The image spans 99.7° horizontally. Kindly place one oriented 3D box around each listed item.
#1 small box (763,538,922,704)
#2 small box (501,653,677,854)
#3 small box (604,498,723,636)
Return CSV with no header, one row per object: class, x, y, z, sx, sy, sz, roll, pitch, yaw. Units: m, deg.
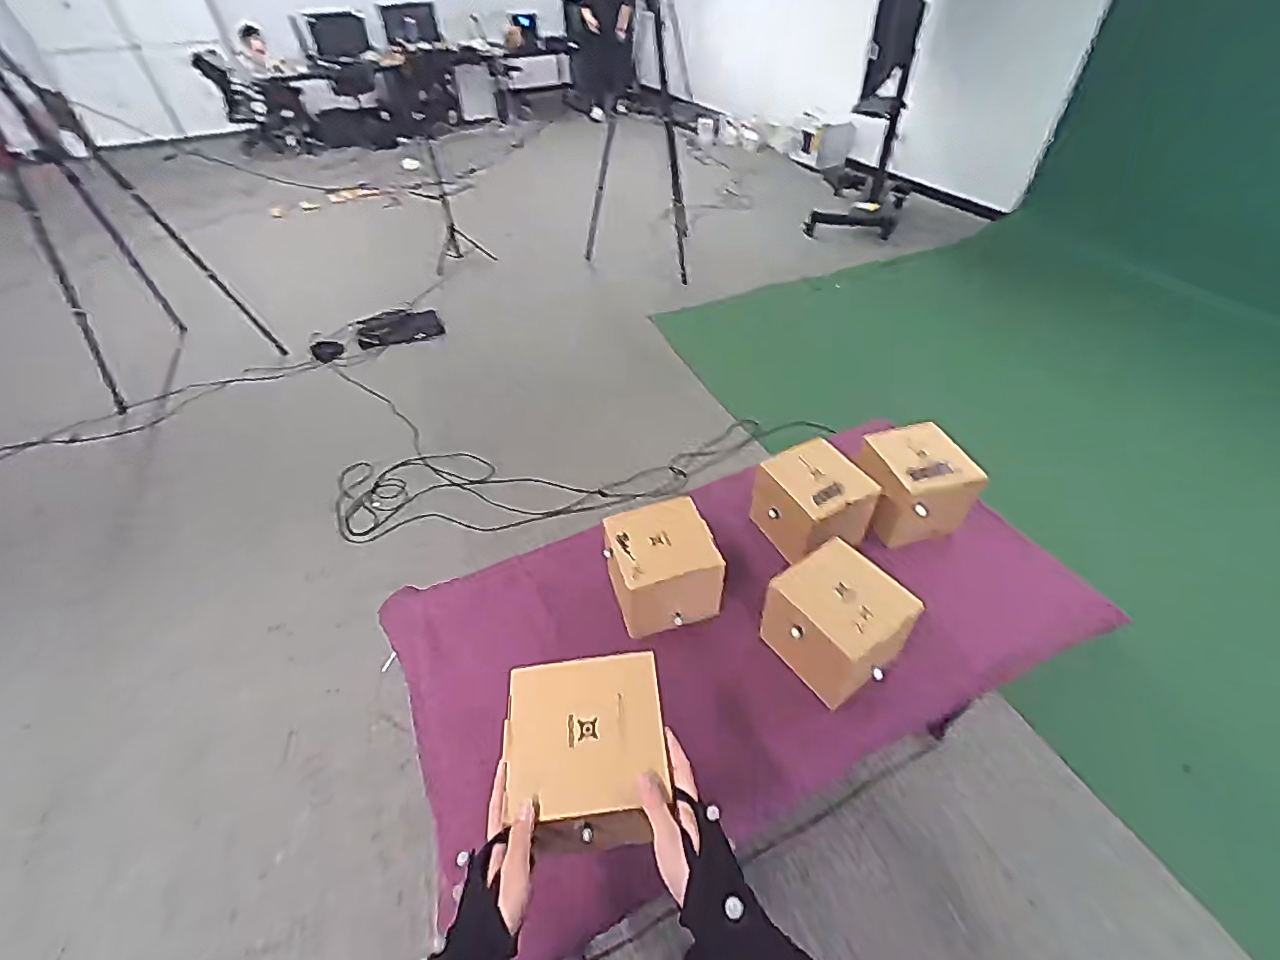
small box,0.329,0.238,0.916,0.168,0.176,0.179,-27,48,-22
small box,-0.053,0.330,0.649,0.179,0.176,0.168,-6,46,-1
small box,0.038,0.162,1.007,0.179,0.176,0.168,-13,45,-11
